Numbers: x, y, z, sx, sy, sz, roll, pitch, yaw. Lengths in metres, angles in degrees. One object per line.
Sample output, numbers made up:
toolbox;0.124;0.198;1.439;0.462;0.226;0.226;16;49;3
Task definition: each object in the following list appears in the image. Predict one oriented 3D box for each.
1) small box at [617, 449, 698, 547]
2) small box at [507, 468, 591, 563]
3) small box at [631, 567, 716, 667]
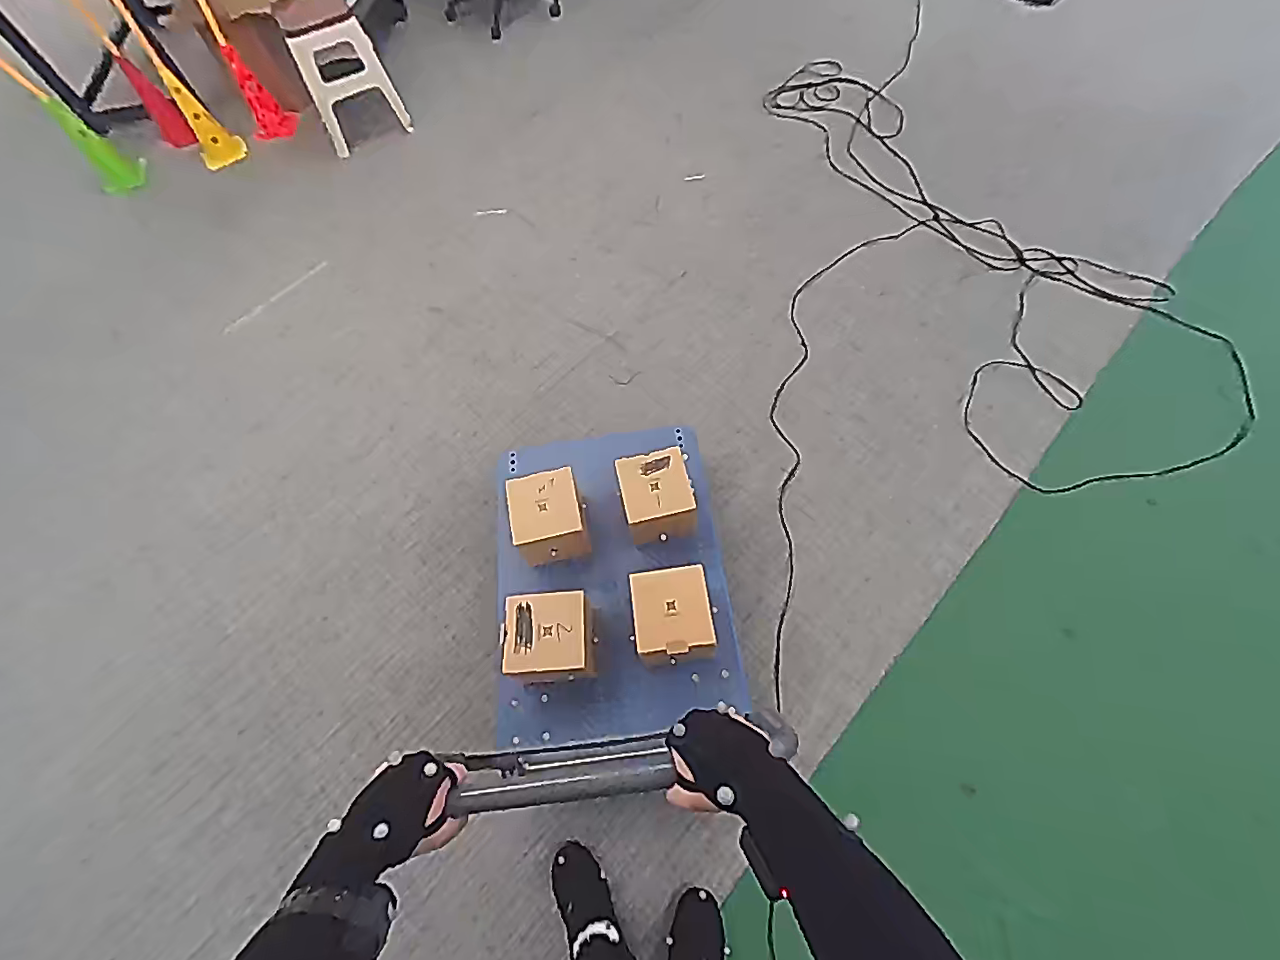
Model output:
small box;0.043;0.049;1.357;0.168;0.176;0.179;-12;64;-1
small box;-0.224;0.097;1.353;0.168;0.176;0.179;-12;63;-3
small box;0.072;0.314;1.225;0.168;0.176;0.179;-8;64;0
